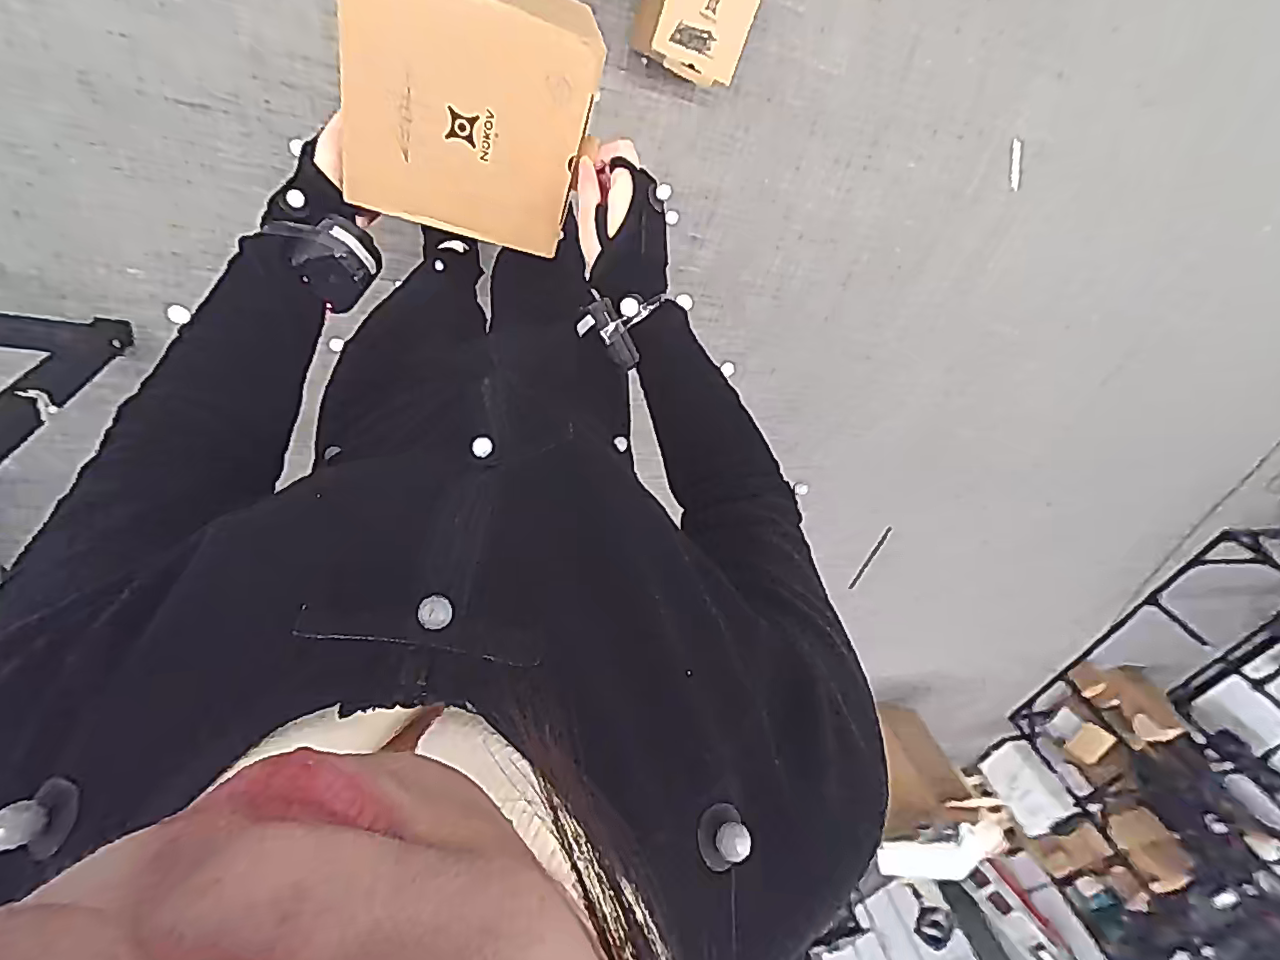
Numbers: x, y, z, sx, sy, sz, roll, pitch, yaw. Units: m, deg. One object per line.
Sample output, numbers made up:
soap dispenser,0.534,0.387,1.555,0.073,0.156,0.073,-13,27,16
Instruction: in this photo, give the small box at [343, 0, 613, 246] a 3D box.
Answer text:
small box,-0.137,-0.335,0.458,0.179,0.176,0.168,9,135,-20

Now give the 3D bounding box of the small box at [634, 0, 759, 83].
small box,0.100,-0.867,0.991,0.168,0.176,0.179,8,124,-25
